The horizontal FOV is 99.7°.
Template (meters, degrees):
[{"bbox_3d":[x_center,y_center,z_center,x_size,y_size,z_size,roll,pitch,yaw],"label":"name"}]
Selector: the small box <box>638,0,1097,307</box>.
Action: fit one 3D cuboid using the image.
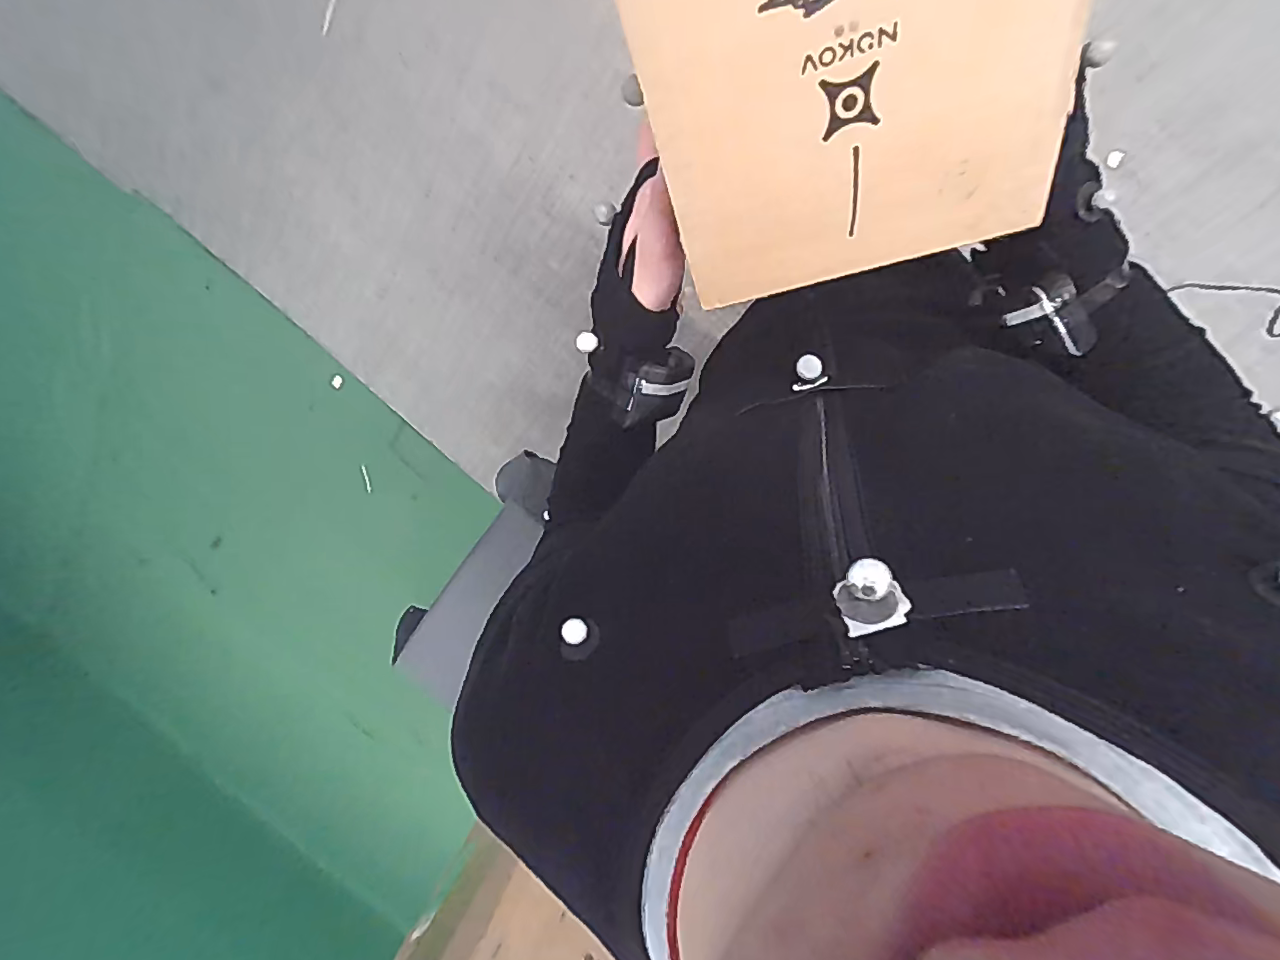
[{"bbox_3d":[0.093,-0.224,0.271,0.168,0.176,0.179,-10,138,15],"label":"small box"}]
